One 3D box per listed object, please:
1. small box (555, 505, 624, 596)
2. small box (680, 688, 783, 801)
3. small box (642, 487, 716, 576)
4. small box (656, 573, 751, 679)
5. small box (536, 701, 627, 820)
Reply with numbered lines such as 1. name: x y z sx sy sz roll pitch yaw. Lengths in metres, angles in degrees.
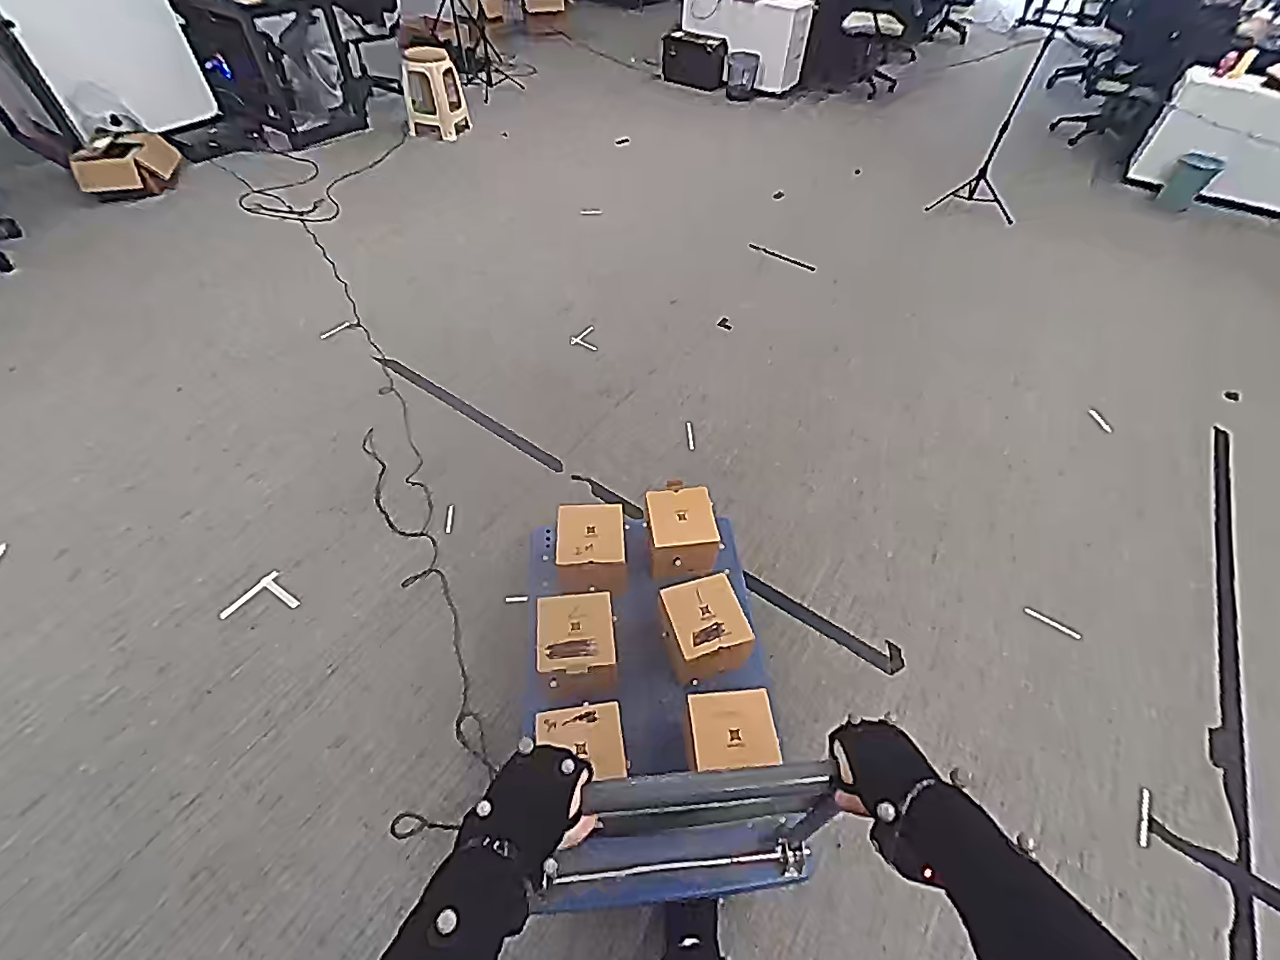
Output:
1. small box: -0.128 0.183 1.401 0.168 0.176 0.179 -2 51 -4
2. small box: 0.180 0.549 1.114 0.168 0.176 0.179 -2 50 -5
3. small box: 0.099 0.143 1.447 0.168 0.176 0.179 -5 51 -7
4. small box: 0.142 0.351 1.276 0.168 0.176 0.179 -12 51 -13
5. small box: -0.117 0.567 1.084 0.168 0.176 0.179 -5 51 -8
